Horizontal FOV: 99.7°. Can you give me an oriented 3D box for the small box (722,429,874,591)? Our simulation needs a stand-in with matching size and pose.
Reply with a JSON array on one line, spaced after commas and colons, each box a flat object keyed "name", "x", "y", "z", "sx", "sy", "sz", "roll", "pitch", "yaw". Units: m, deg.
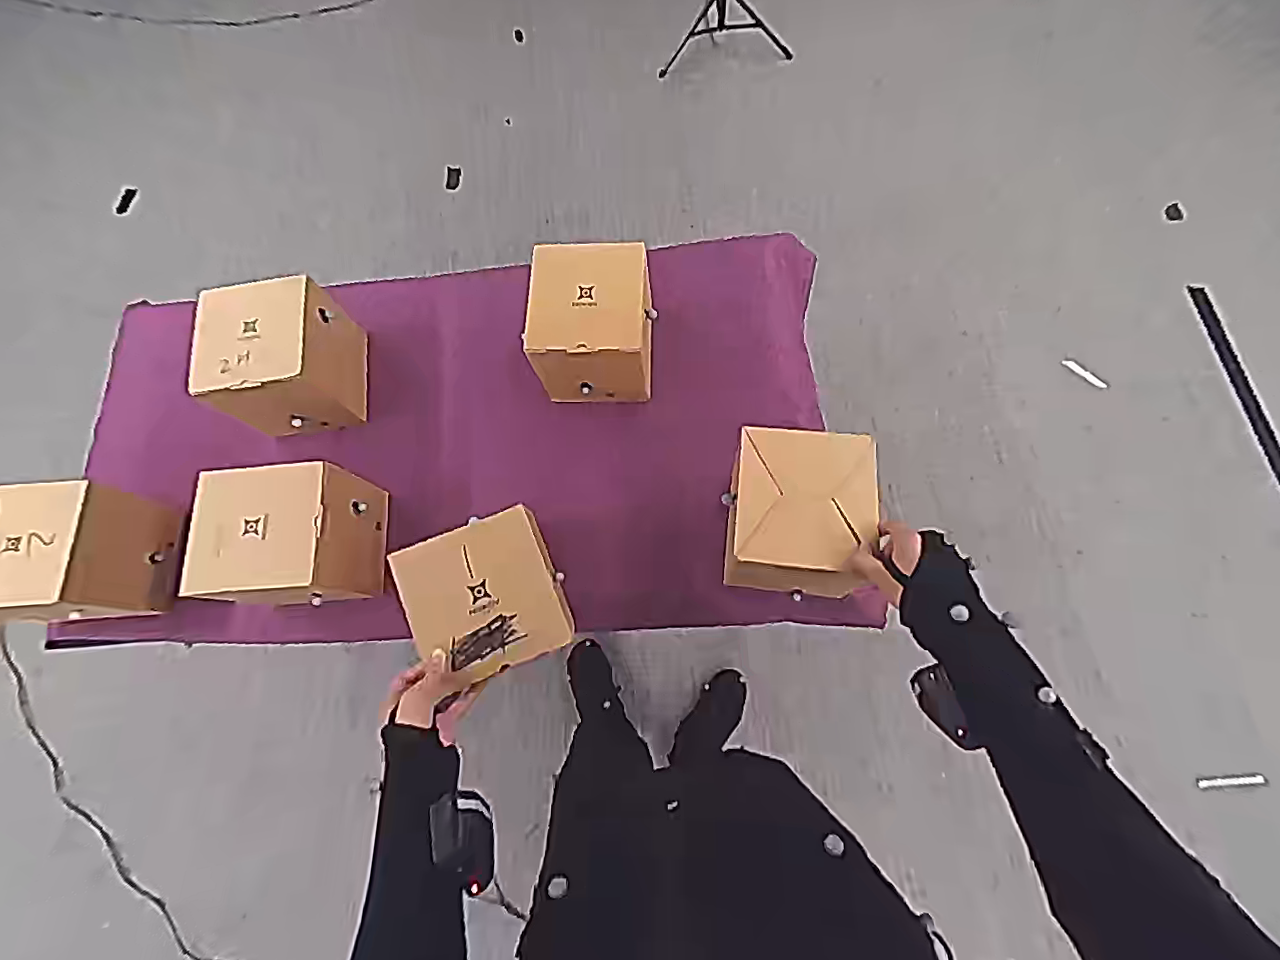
[{"name": "small box", "x": 0.201, "y": 0.041, "z": 0.721, "sx": 0.168, "sy": 0.176, "sz": 0.179, "roll": 5, "pitch": 69, "yaw": 7}]

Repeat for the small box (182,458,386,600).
[{"name": "small box", "x": -0.487, "y": 0.077, "z": 0.772, "sx": 0.179, "sy": 0.176, "sz": 0.168, "roll": -5, "pitch": 72, "yaw": 2}]

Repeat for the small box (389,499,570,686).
[{"name": "small box", "x": -0.195, "y": 0.137, "z": 0.708, "sx": 0.168, "sy": 0.176, "sz": 0.179, "roll": -21, "pitch": 86, "yaw": -10}]

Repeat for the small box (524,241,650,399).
[{"name": "small box", "x": -0.072, "y": -0.242, "z": 0.842, "sx": 0.168, "sy": 0.176, "sz": 0.179, "roll": 0, "pitch": 74, "yaw": 5}]

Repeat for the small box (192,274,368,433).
[{"name": "small box", "x": -0.558, "y": -0.194, "z": 0.863, "sx": 0.168, "sy": 0.176, "sz": 0.179, "roll": -9, "pitch": 73, "yaw": 2}]
